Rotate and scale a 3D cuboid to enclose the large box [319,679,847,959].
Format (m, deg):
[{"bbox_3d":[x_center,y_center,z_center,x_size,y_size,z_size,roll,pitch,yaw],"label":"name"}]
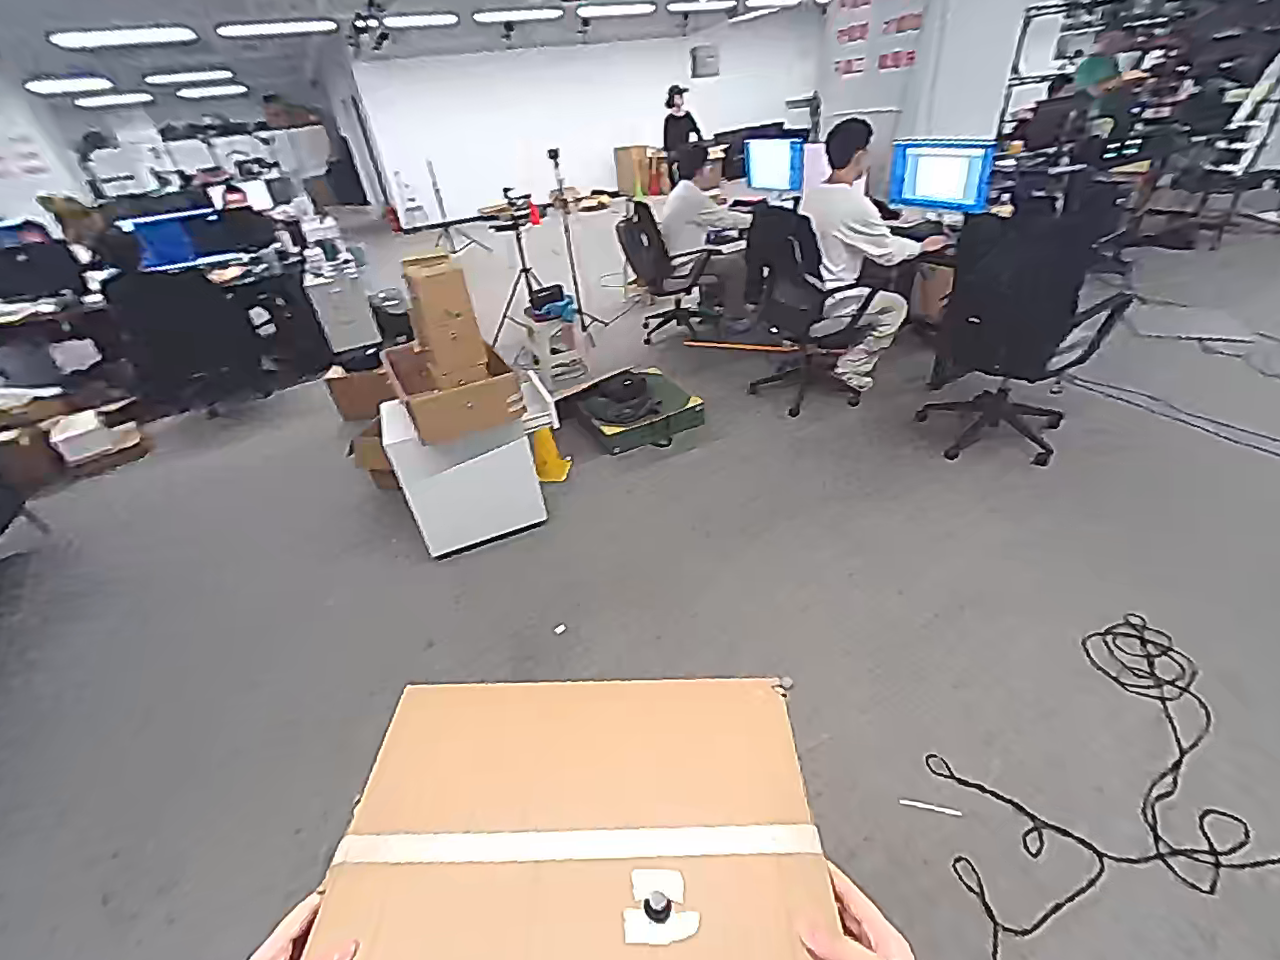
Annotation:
[{"bbox_3d":[-0.044,0.432,0.557,0.408,0.320,0.320,0,36,0],"label":"large box"}]
